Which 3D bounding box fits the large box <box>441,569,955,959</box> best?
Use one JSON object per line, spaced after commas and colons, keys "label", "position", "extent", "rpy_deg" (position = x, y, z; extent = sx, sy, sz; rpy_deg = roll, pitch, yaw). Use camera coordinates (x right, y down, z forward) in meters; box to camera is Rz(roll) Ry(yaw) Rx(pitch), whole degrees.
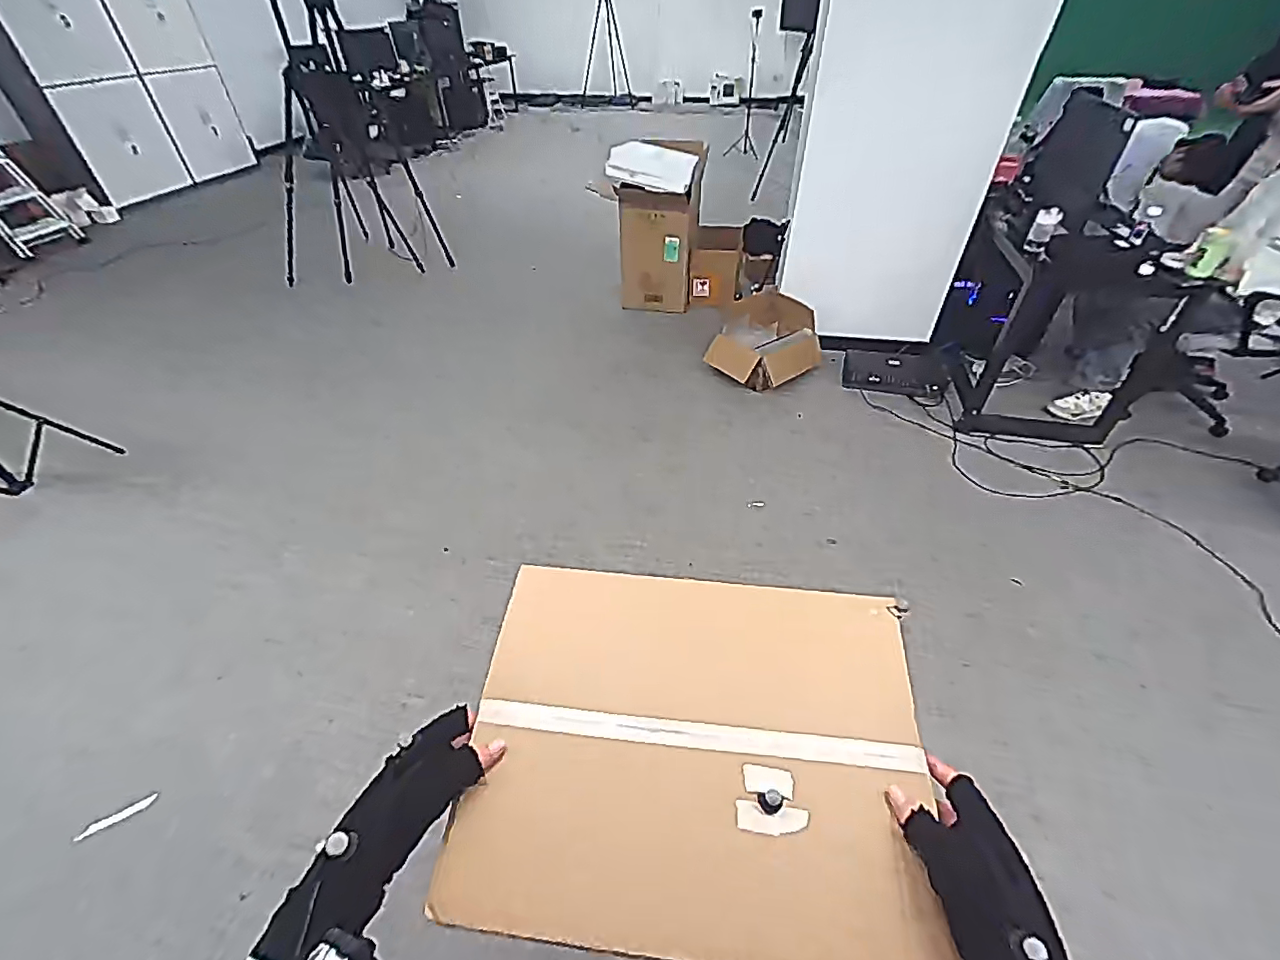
{"label": "large box", "position": [0.053, 0.325, 0.618], "extent": [0.408, 0.320, 0.320], "rpy_deg": [5, 53, 5]}
